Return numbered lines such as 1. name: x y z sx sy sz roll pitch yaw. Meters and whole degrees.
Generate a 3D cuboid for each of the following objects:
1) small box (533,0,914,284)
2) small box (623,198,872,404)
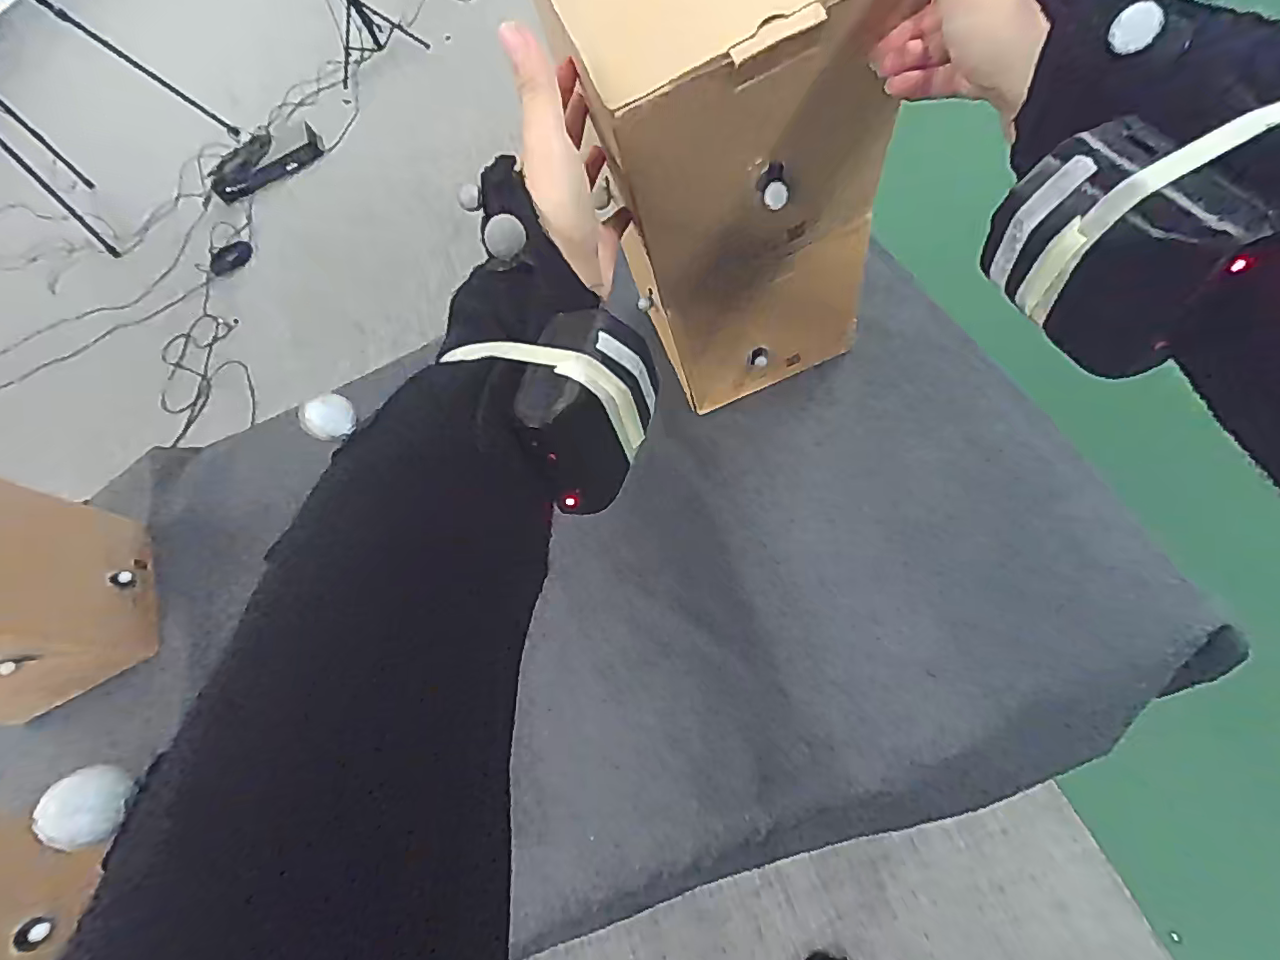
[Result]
1. small box: 0.045 -0.254 0.342 0.168 0.176 0.179 -24 73 5
2. small box: 0.085 -0.203 0.504 0.168 0.176 0.179 -23 65 5
